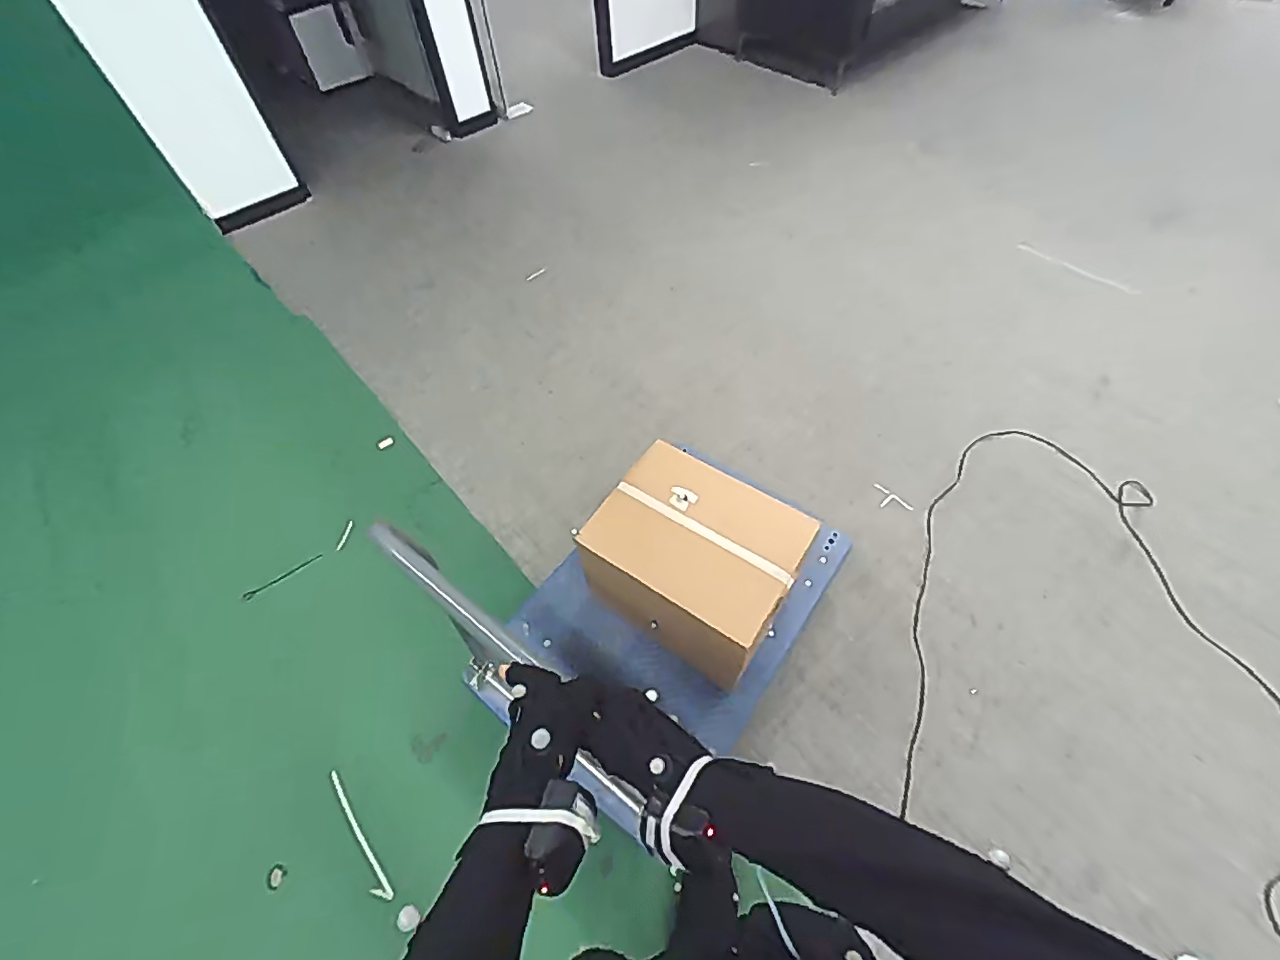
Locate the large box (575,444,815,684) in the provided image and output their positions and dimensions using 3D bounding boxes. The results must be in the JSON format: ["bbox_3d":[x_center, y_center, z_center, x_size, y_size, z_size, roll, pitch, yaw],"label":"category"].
[{"bbox_3d":[0.123,0.190,1.224,0.408,0.320,0.320,28,61,21],"label":"large box"}]
